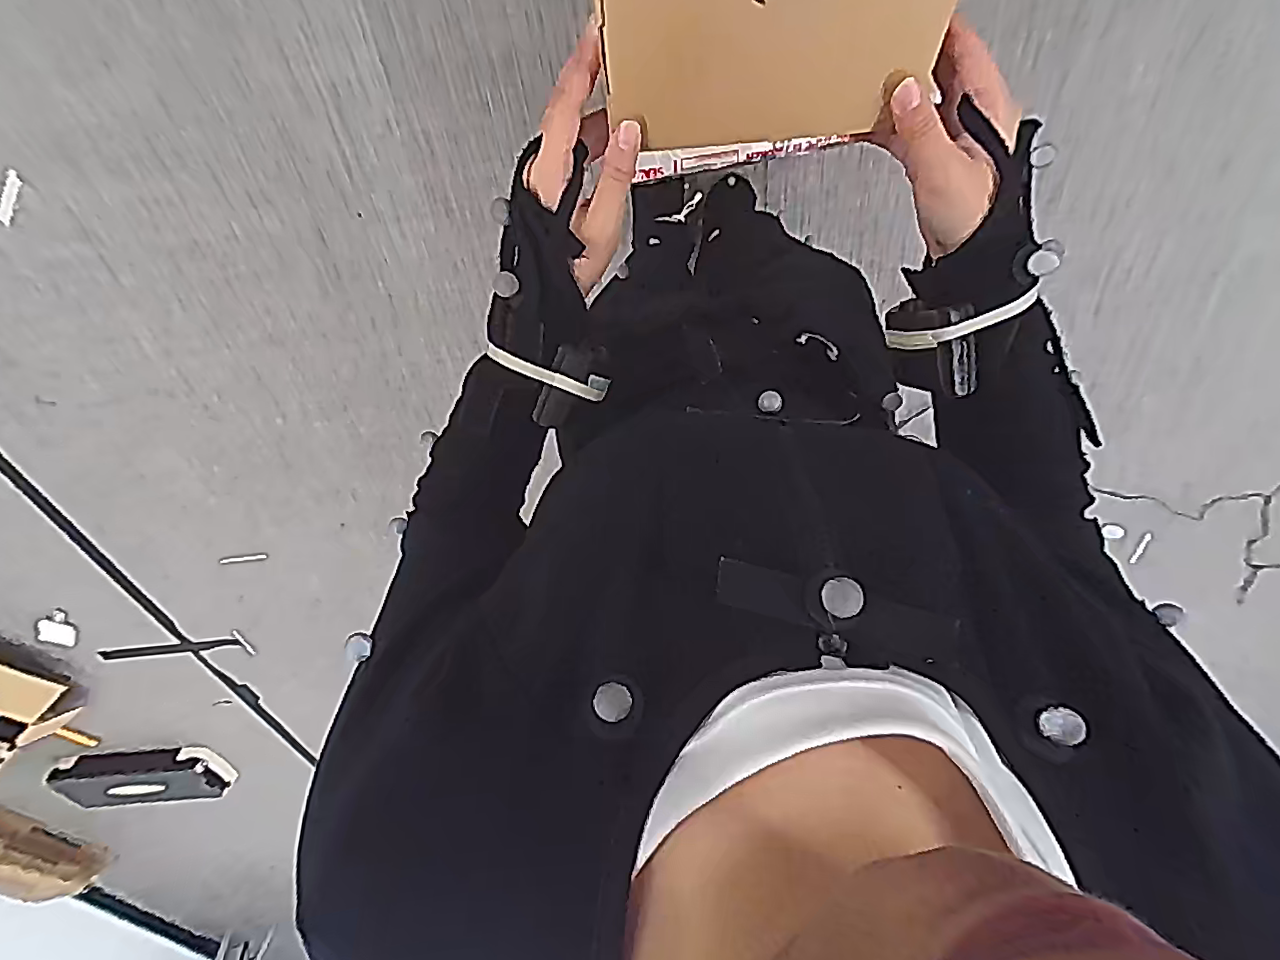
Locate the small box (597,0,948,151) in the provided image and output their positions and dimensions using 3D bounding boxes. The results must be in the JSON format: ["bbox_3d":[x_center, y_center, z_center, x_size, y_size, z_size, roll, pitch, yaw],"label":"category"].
[{"bbox_3d":[0.060,-0.311,0.289,0.179,0.176,0.168,-4,149,1],"label":"small box"}]
